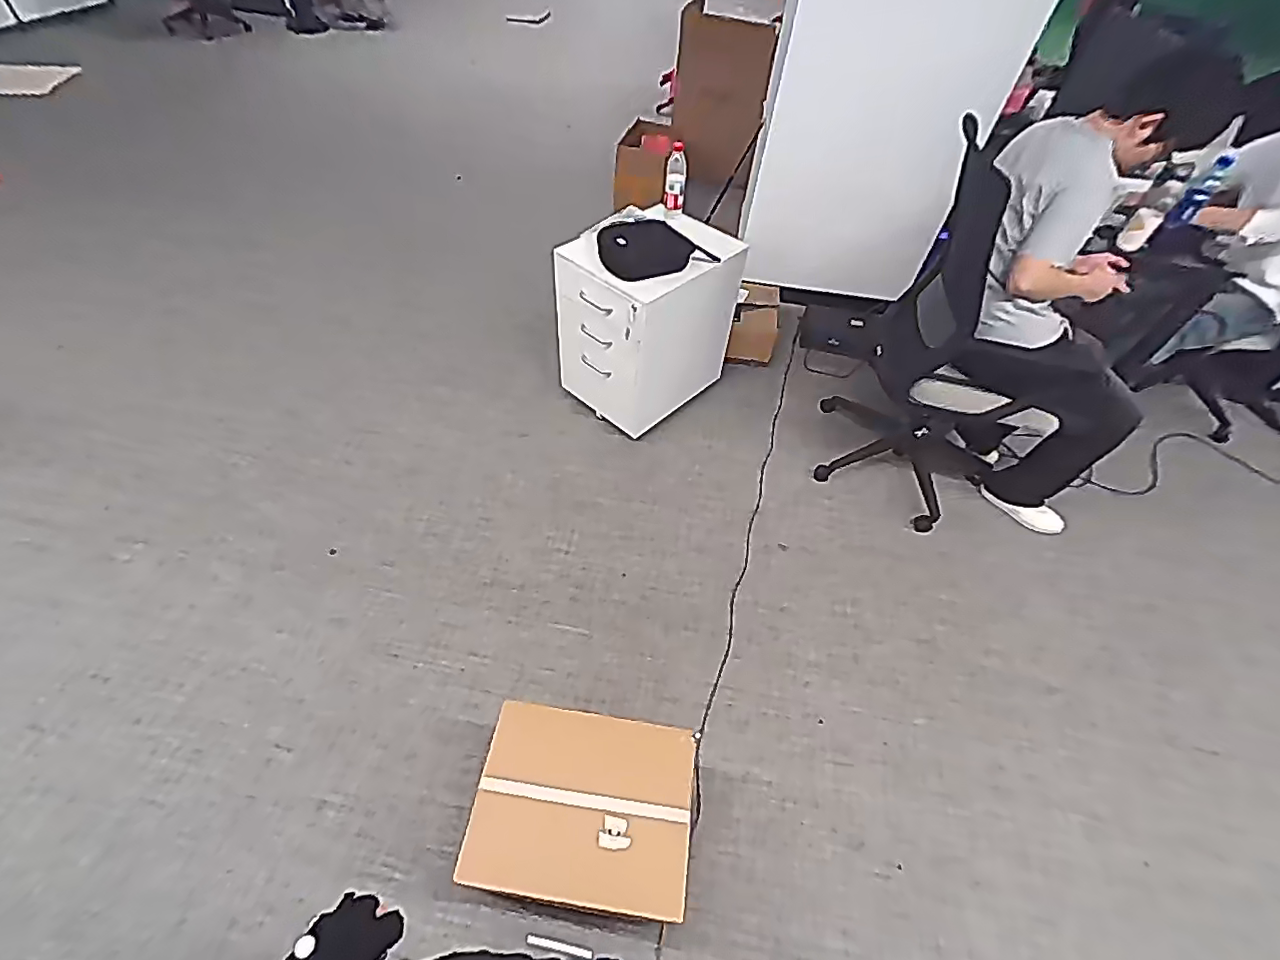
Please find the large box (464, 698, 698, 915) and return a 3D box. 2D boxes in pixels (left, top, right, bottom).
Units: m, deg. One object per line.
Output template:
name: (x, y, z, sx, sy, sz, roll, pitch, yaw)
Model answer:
large box: (-0.109, 0.695, 1.147, 0.408, 0.320, 0.320, 9, 51, 2)
